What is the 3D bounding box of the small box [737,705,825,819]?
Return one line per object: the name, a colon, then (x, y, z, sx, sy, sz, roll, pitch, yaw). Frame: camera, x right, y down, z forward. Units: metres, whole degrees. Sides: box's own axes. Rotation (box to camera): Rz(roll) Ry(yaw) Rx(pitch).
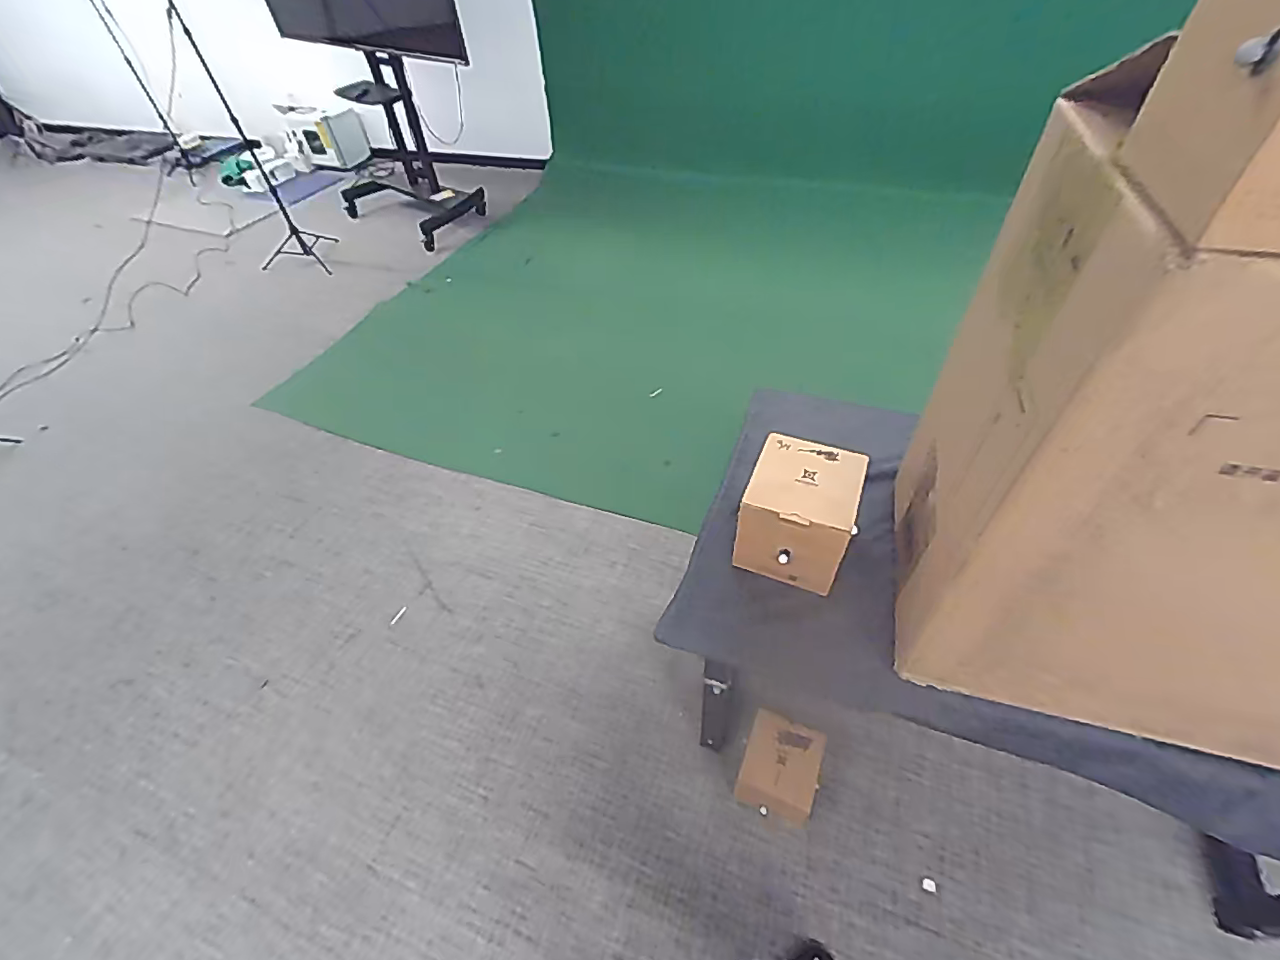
small box: (0.339, 0.691, 1.320, 0.168, 0.176, 0.179, 16, 52, 19)
